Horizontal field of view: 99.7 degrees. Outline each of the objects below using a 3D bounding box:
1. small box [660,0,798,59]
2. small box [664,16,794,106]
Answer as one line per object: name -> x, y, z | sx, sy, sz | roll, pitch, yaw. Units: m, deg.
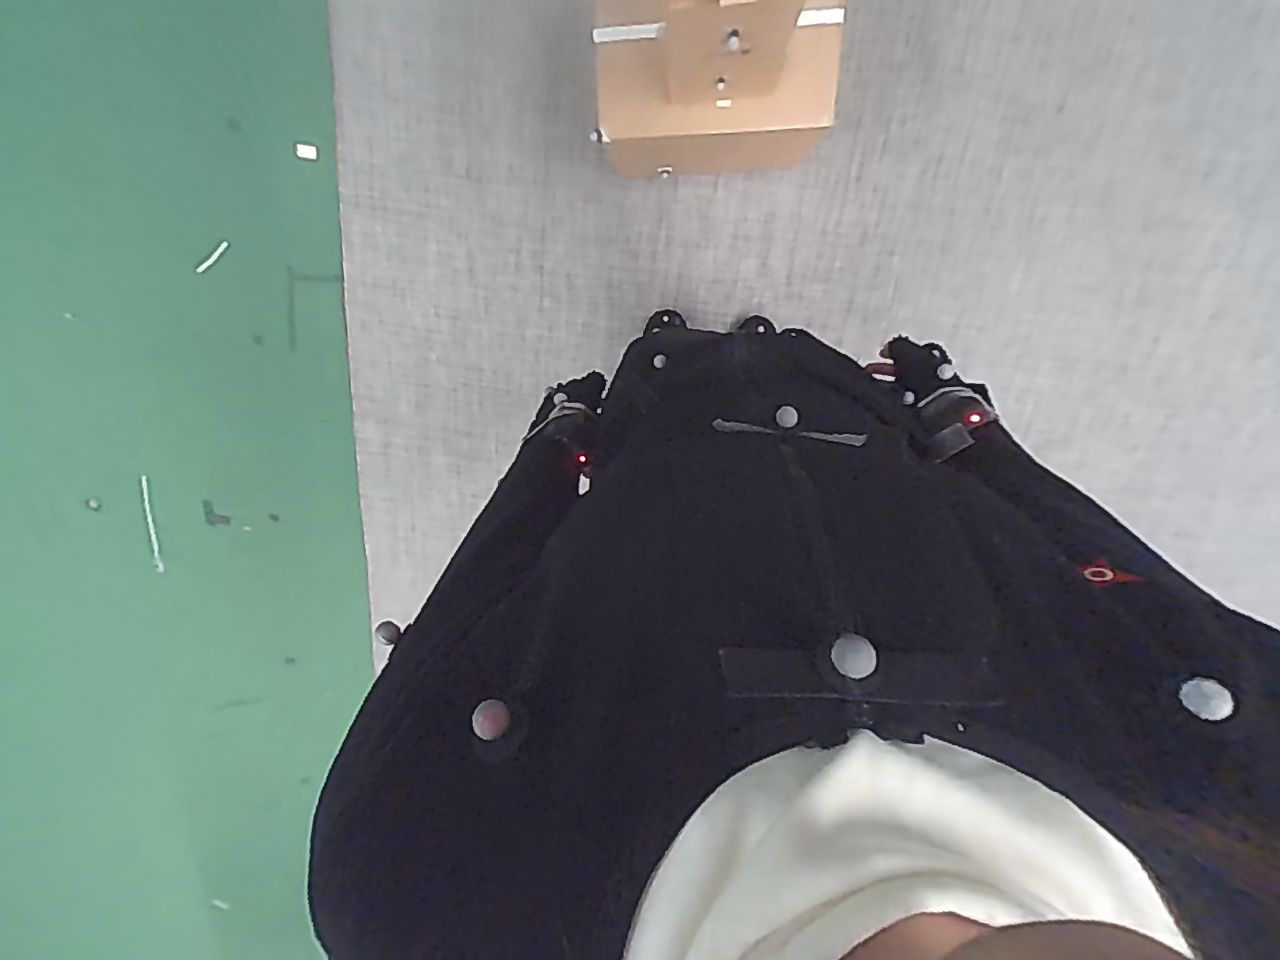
small box -> 0.107, -0.645, 0.656 | 0.168, 0.176, 0.179 | -3, 108, 6
small box -> 0.125, -0.691, 0.811 | 0.179, 0.176, 0.168 | -5, 108, 6
